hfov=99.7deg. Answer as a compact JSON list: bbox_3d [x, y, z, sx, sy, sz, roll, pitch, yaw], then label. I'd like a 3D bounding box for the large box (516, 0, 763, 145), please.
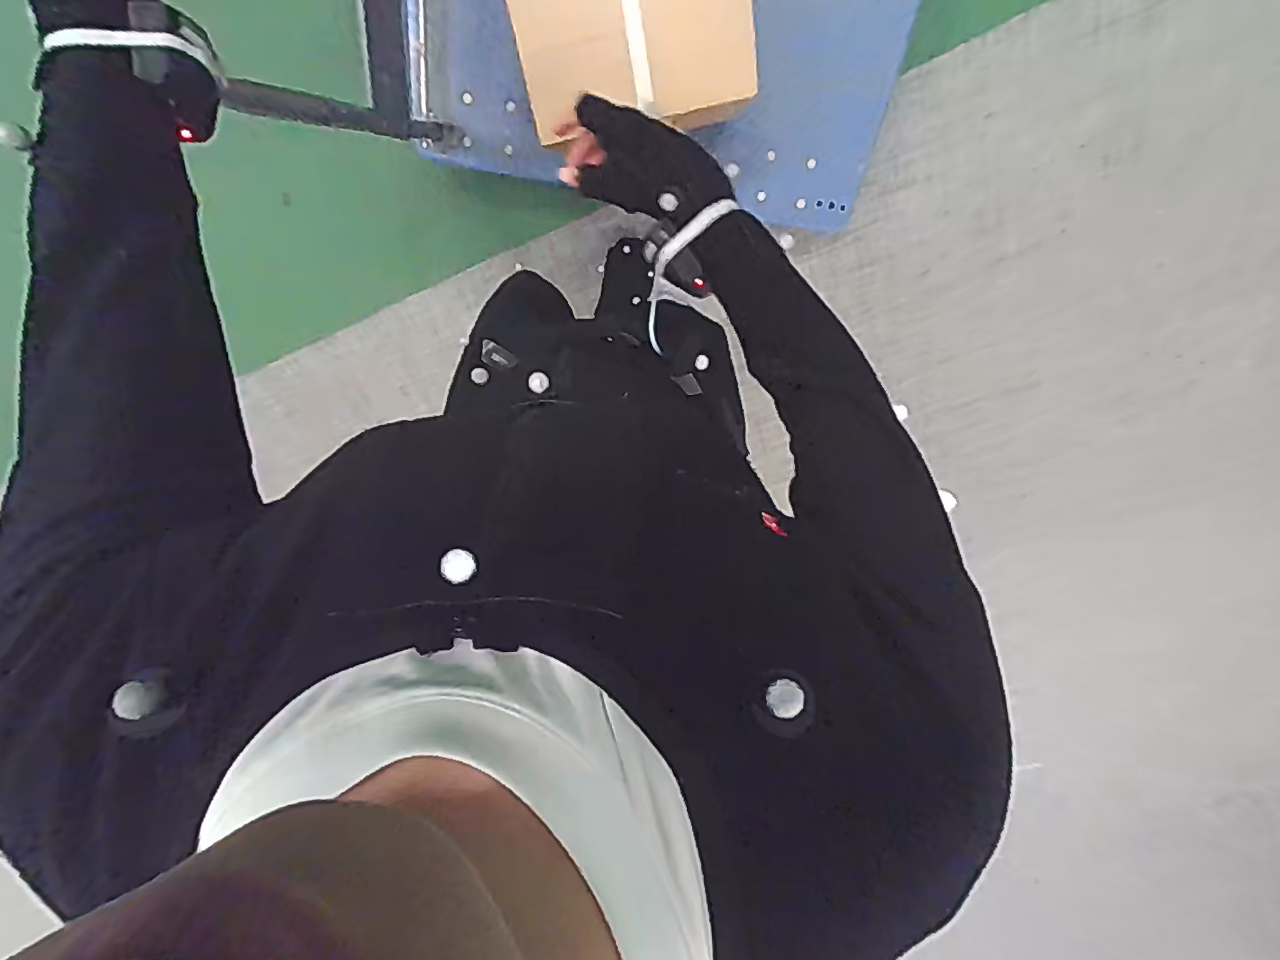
[{"bbox_3d":[-0.012,-0.759,0.788,0.320,0.320,0.408,-8,118,6],"label":"large box"}]
